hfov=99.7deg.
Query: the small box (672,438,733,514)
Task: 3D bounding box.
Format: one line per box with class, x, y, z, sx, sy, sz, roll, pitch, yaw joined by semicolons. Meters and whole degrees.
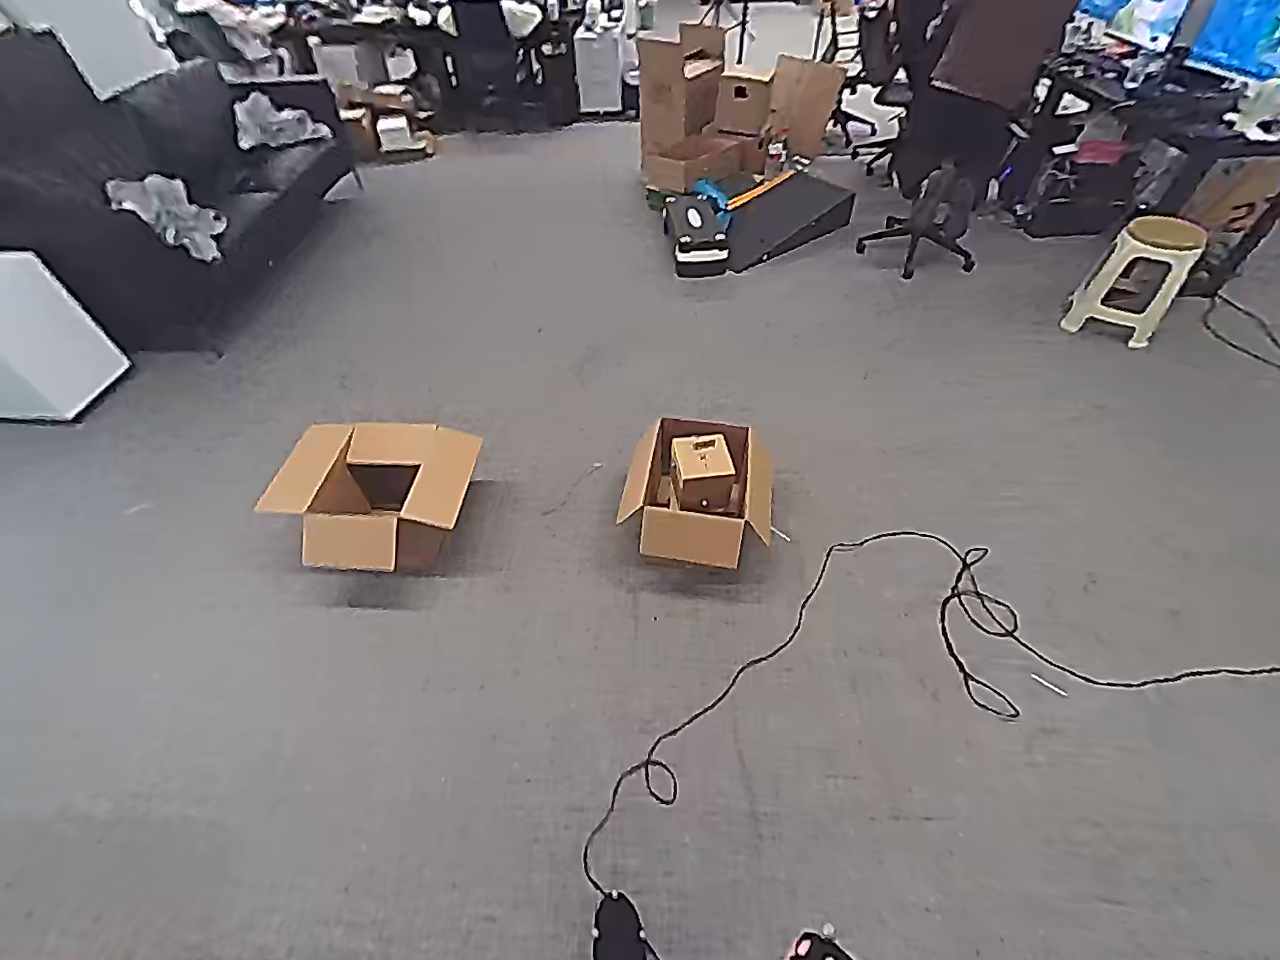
small box;0.193;-0.012;1.729;0.168;0.176;0.179;-5;47;-2
